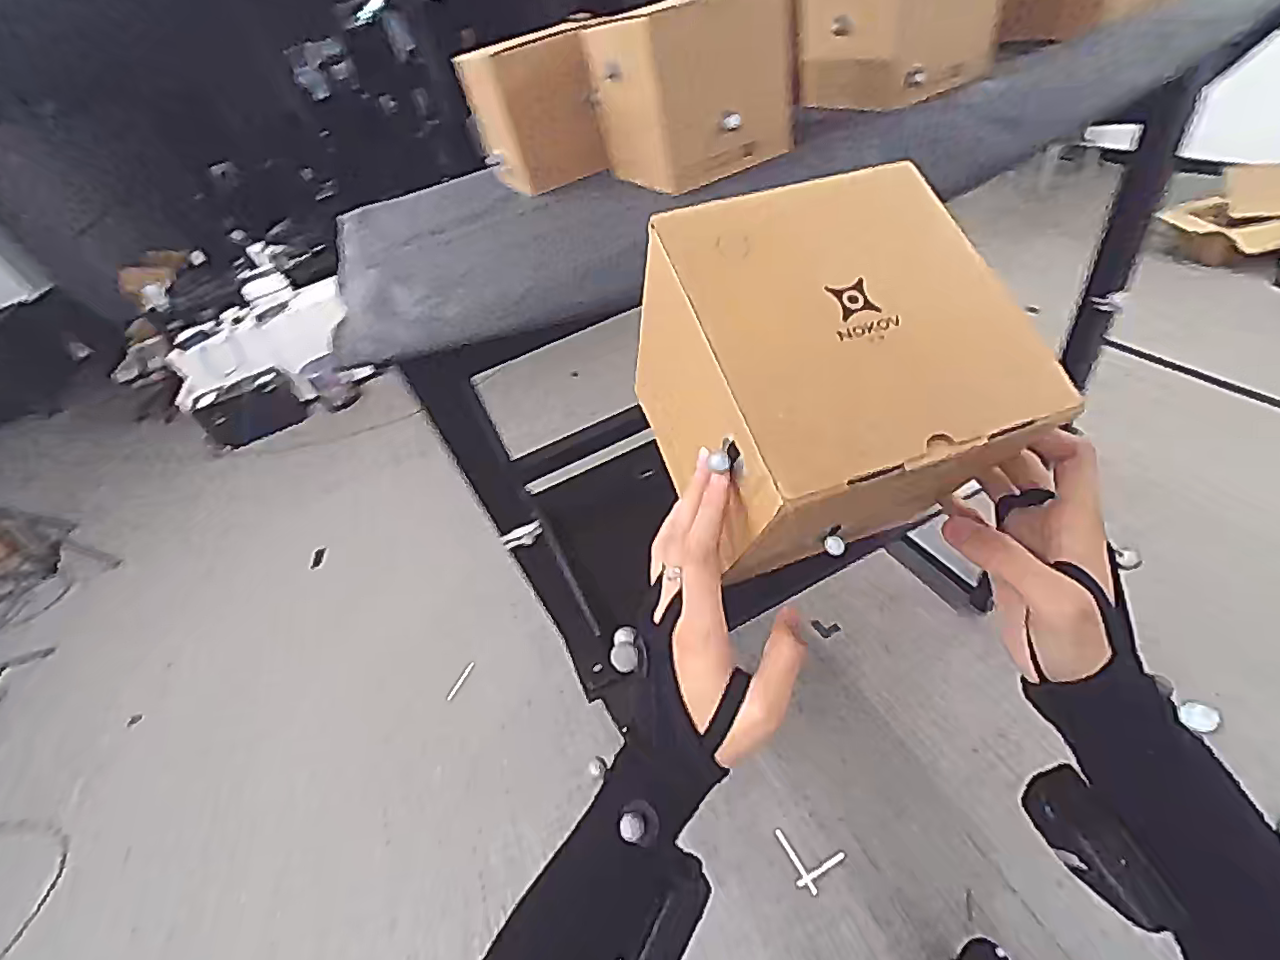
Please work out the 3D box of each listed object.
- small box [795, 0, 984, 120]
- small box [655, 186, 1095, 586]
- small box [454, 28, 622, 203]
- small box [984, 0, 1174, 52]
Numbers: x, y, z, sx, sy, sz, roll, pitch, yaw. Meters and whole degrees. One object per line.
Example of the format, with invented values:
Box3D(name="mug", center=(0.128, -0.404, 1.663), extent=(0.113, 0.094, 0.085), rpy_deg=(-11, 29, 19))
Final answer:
Box3D(name="small box", center=(0.329, -0.601, 0.719), extent=(0.168, 0.176, 0.179), rpy_deg=(-27, 43, -12))
Box3D(name="small box", center=(0.116, -0.049, 0.354), extent=(0.168, 0.176, 0.179), rpy_deg=(-16, 70, -10))
Box3D(name="small box", center=(-0.140, -0.531, 0.790), extent=(0.179, 0.176, 0.168), rpy_deg=(-28, 44, -13))
Box3D(name="small box", center=(0.623, -0.721, 0.753), extent=(0.168, 0.176, 0.179), rpy_deg=(-27, 42, -10))
